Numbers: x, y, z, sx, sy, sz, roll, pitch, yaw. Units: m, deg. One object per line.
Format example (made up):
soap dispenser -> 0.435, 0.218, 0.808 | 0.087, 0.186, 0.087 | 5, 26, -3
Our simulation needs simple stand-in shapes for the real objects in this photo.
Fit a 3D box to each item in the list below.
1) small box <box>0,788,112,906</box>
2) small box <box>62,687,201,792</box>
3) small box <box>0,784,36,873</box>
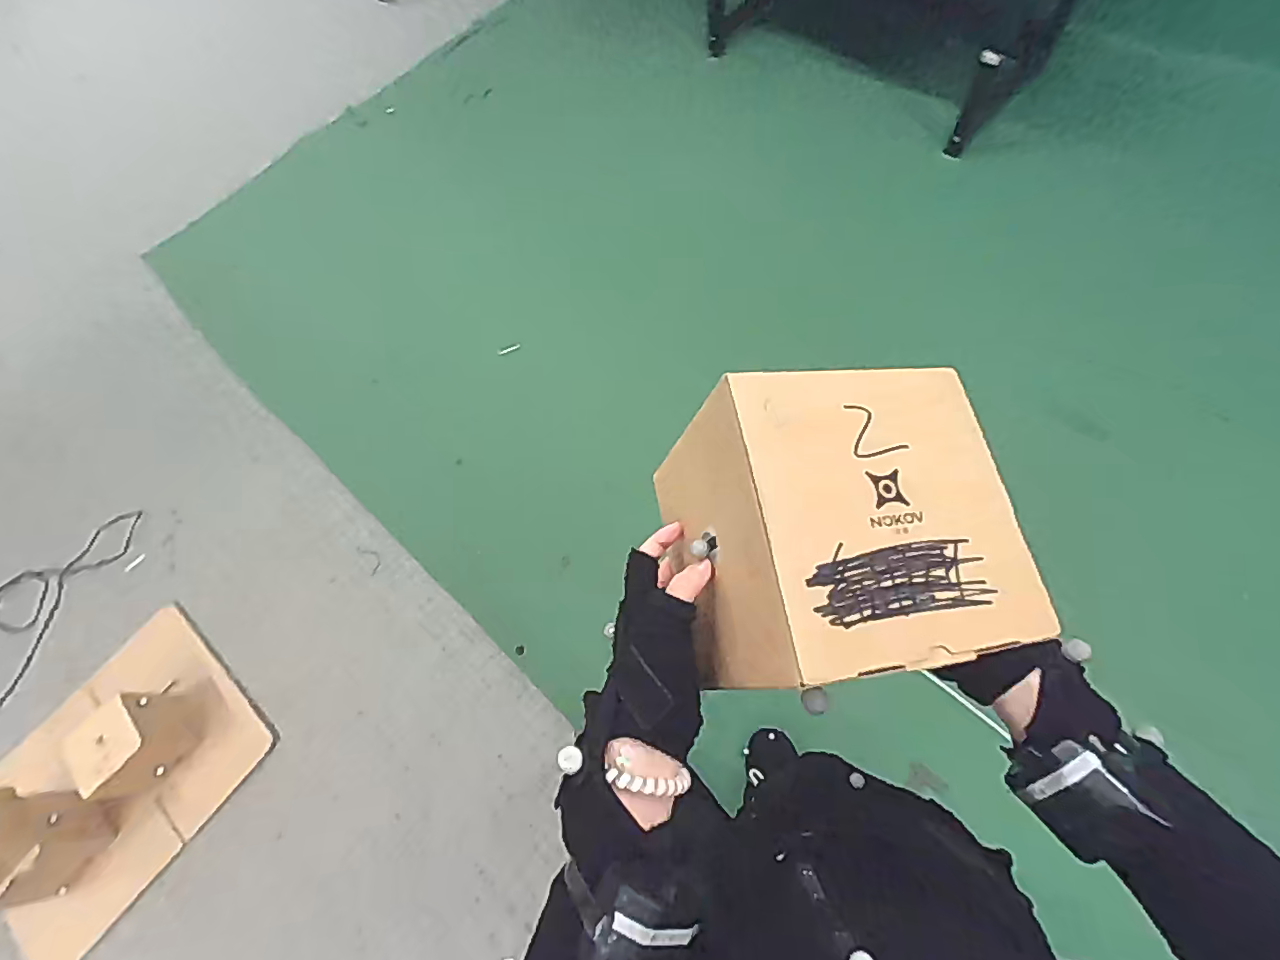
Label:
small box -> -1.446, 0.869, 1.299 | 0.179, 0.176, 0.168 | 32, 74, 21
small box -> -1.283, 0.656, 1.375 | 0.179, 0.176, 0.168 | 40, 78, 22
small box -> -1.488, 0.783, 1.165 | 0.179, 0.176, 0.168 | 35, 75, 22
